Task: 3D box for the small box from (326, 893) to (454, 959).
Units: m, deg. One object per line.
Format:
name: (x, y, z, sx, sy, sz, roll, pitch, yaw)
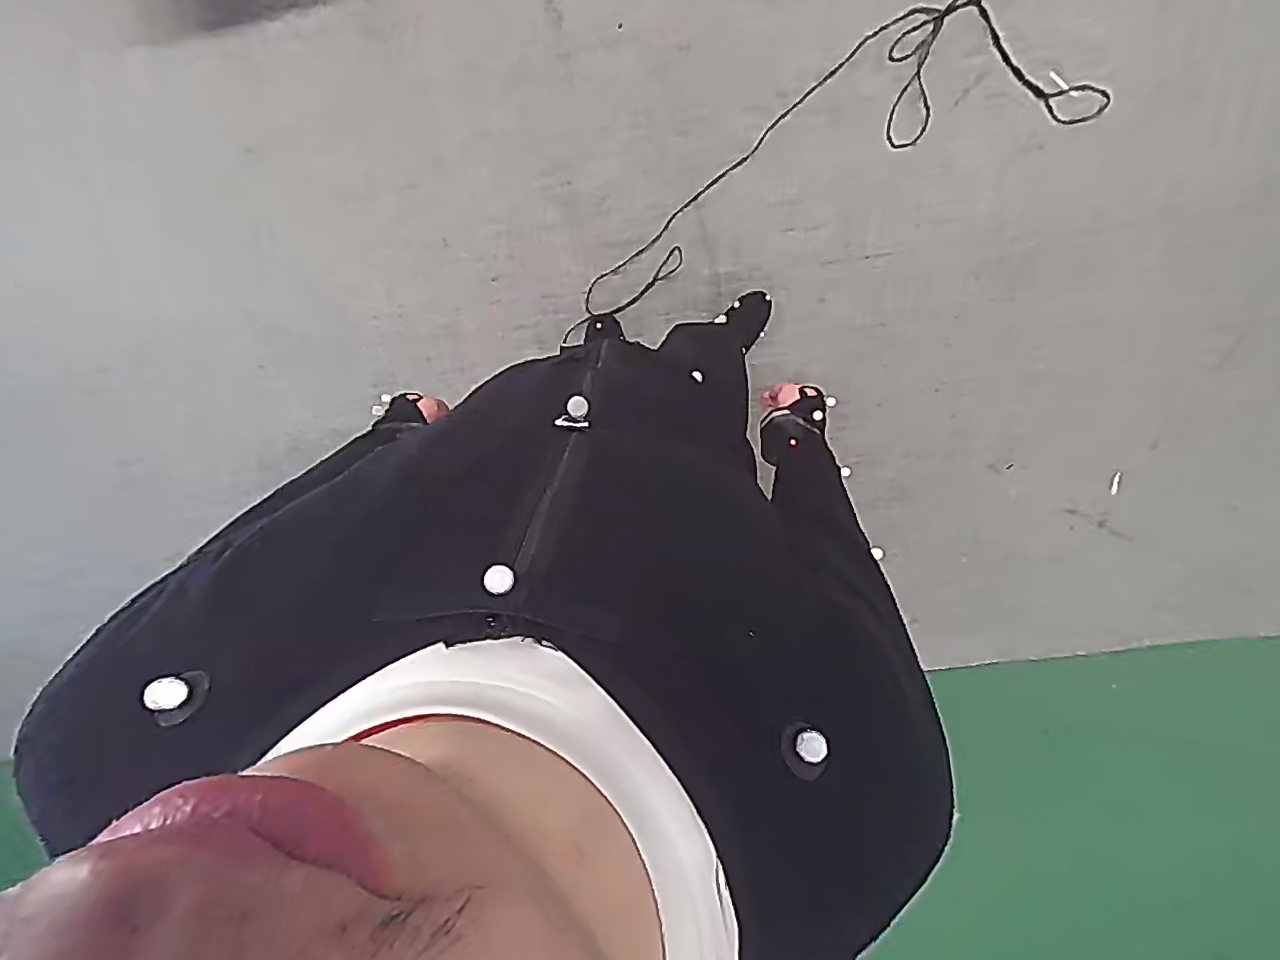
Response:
small box: (-0.478, 0.919, 1.019, 0.168, 0.176, 0.179, -14, 107, 5)
